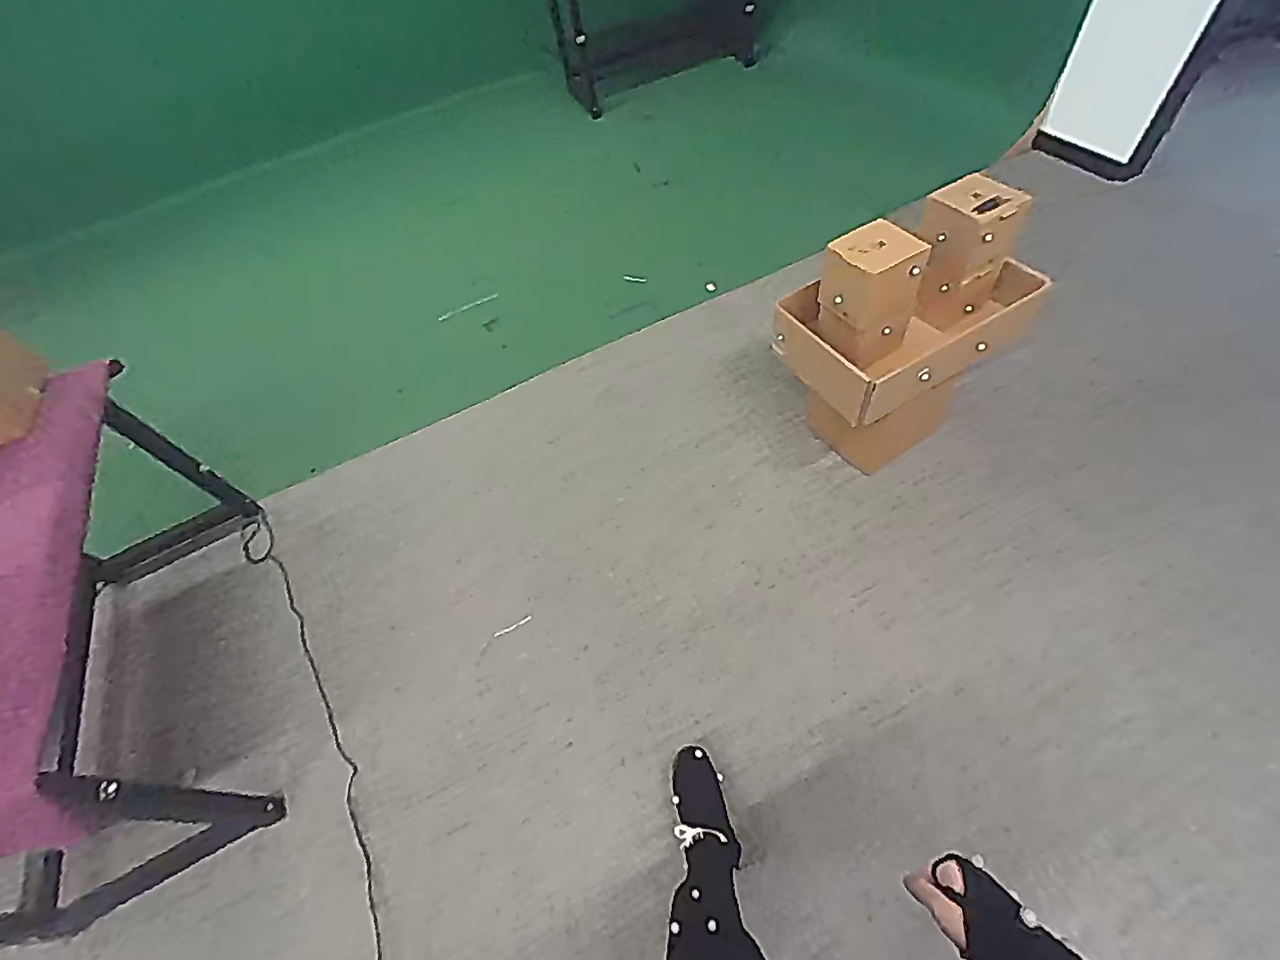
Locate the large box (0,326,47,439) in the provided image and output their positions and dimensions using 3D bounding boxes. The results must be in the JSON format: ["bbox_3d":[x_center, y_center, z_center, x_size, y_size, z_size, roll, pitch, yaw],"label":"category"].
[{"bbox_3d":[-1.826,-0.236,1.314,0.408,0.320,0.320,-25,58,-8],"label":"large box"}]

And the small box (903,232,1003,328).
[{"bbox_3d":[0.875,-0.569,1.547,0.168,0.176,0.179,-31,57,-13],"label":"small box"}]

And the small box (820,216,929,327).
[{"bbox_3d":[0.577,-0.519,1.357,0.179,0.176,0.168,-28,56,-10],"label":"small box"}]
